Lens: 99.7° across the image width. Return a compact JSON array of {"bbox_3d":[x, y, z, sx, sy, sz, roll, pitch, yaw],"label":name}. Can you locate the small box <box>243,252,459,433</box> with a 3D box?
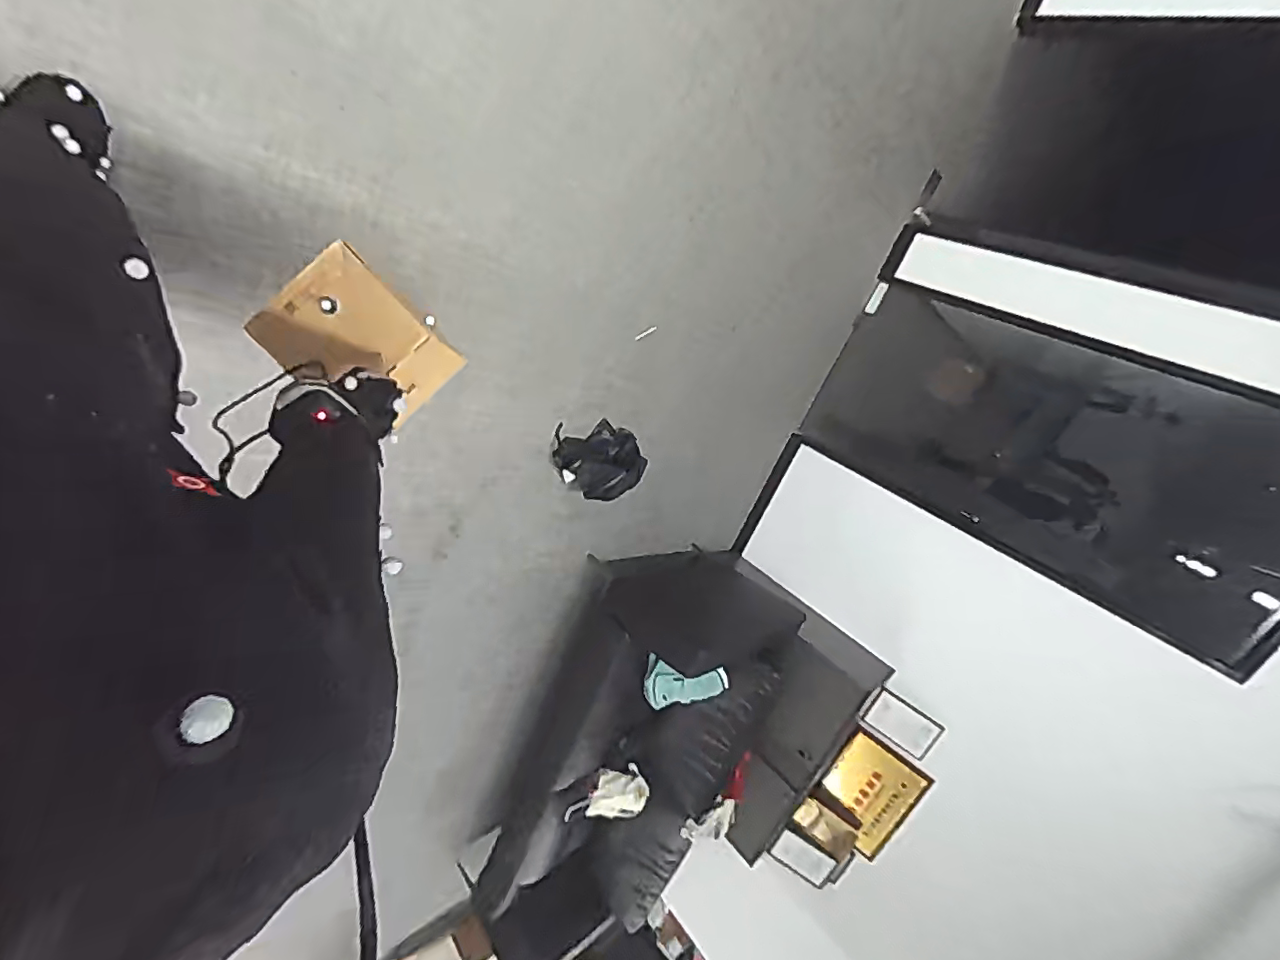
[{"bbox_3d":[-0.394,-0.185,0.765,0.168,0.176,0.179,-43,-176,-2],"label":"small box"}]
